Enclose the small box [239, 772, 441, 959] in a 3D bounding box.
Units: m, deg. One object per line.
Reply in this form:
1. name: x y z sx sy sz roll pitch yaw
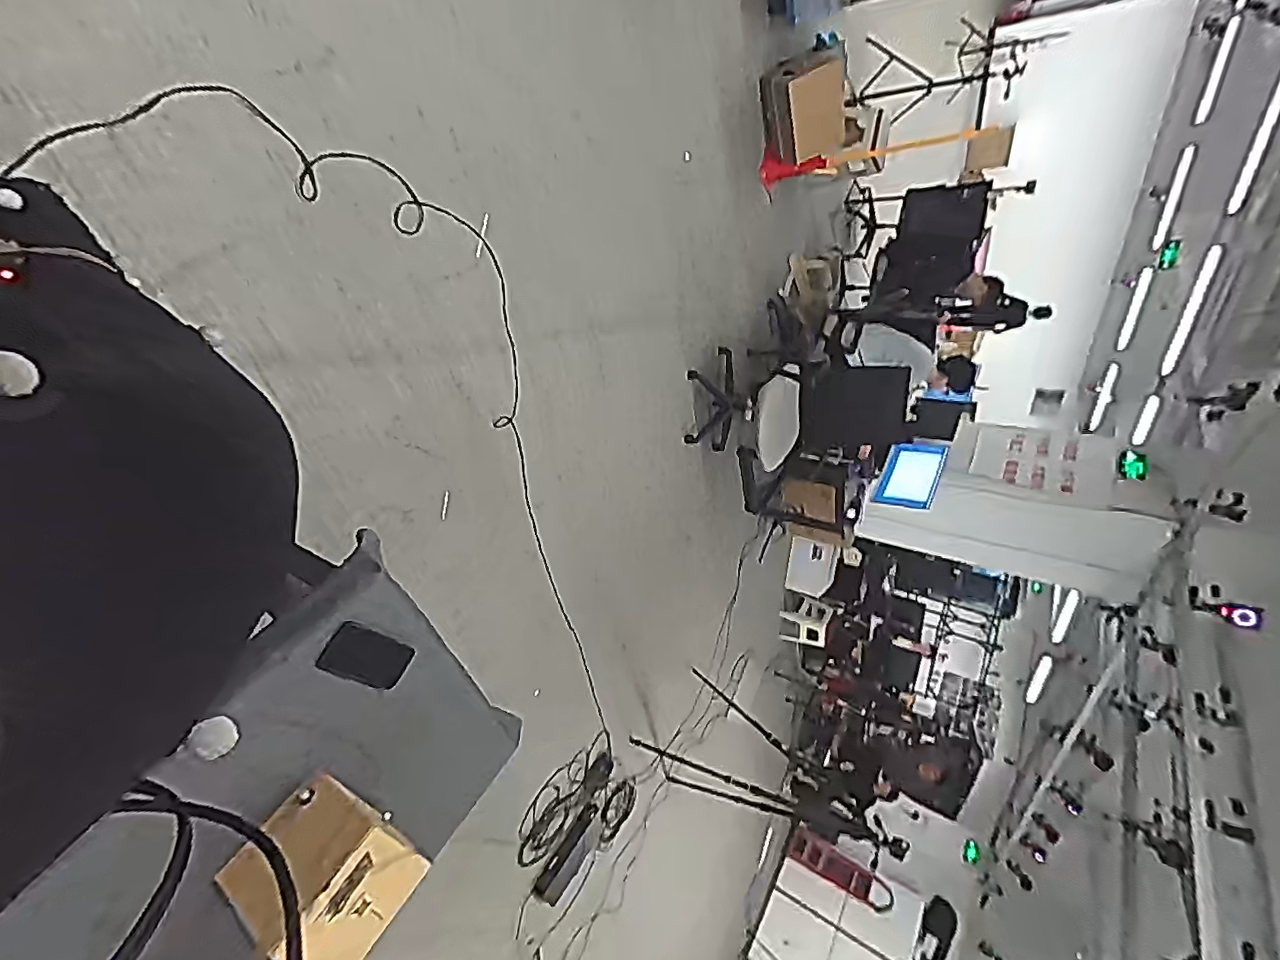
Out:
1. small box: -0.446 0.576 0.813 0.168 0.176 0.179 -50 140 -35
